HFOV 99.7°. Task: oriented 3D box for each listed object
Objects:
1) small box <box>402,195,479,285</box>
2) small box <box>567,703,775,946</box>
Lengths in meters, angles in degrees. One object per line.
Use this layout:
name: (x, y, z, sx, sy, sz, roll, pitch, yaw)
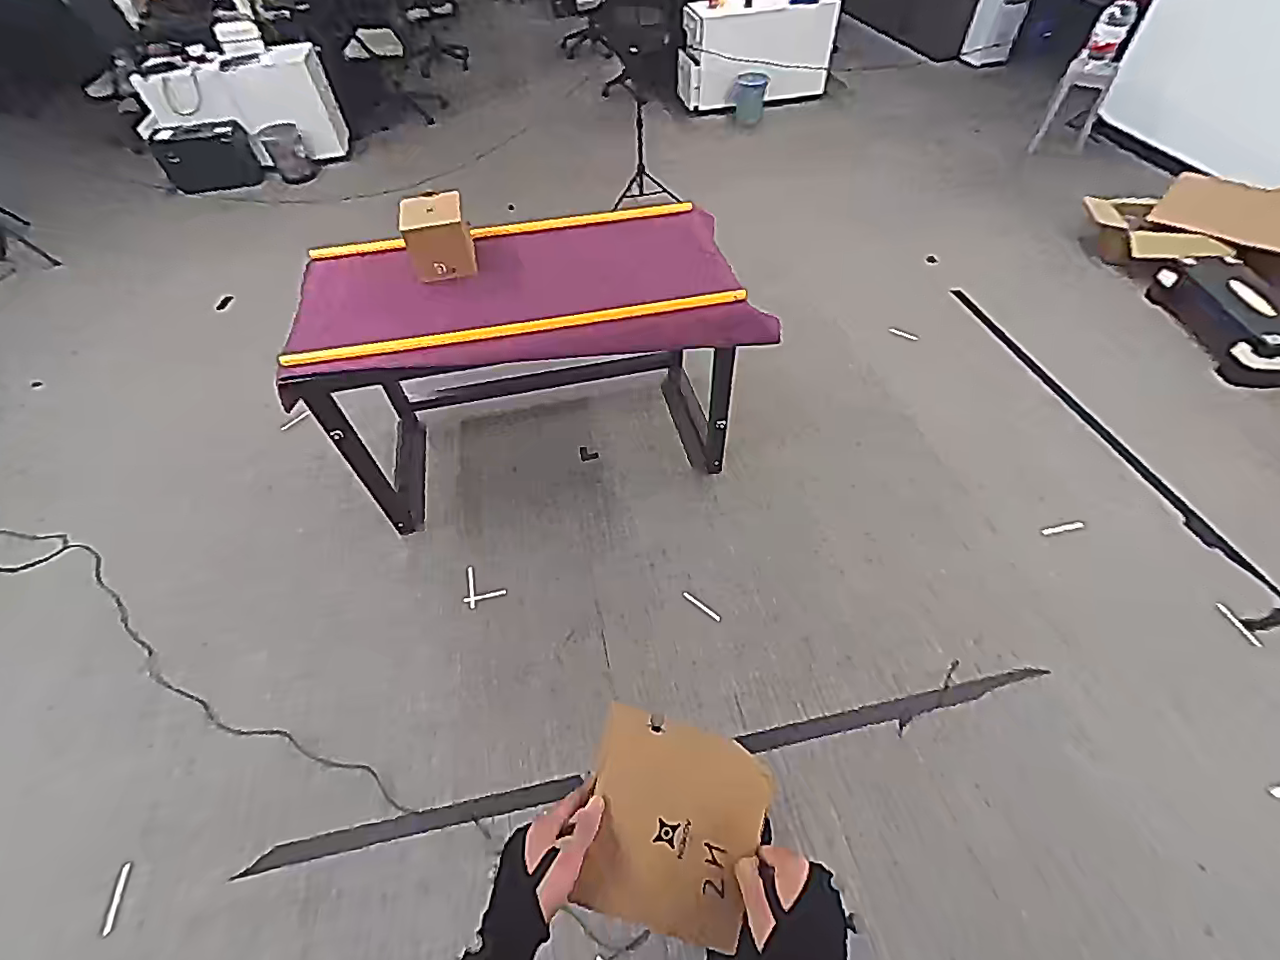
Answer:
small box: (-0.573, -0.693, 1.568, 0.168, 0.176, 0.179, -13, 54, -6)
small box: (0.028, 0.367, 0.616, 0.179, 0.176, 0.168, 18, 76, 0)
